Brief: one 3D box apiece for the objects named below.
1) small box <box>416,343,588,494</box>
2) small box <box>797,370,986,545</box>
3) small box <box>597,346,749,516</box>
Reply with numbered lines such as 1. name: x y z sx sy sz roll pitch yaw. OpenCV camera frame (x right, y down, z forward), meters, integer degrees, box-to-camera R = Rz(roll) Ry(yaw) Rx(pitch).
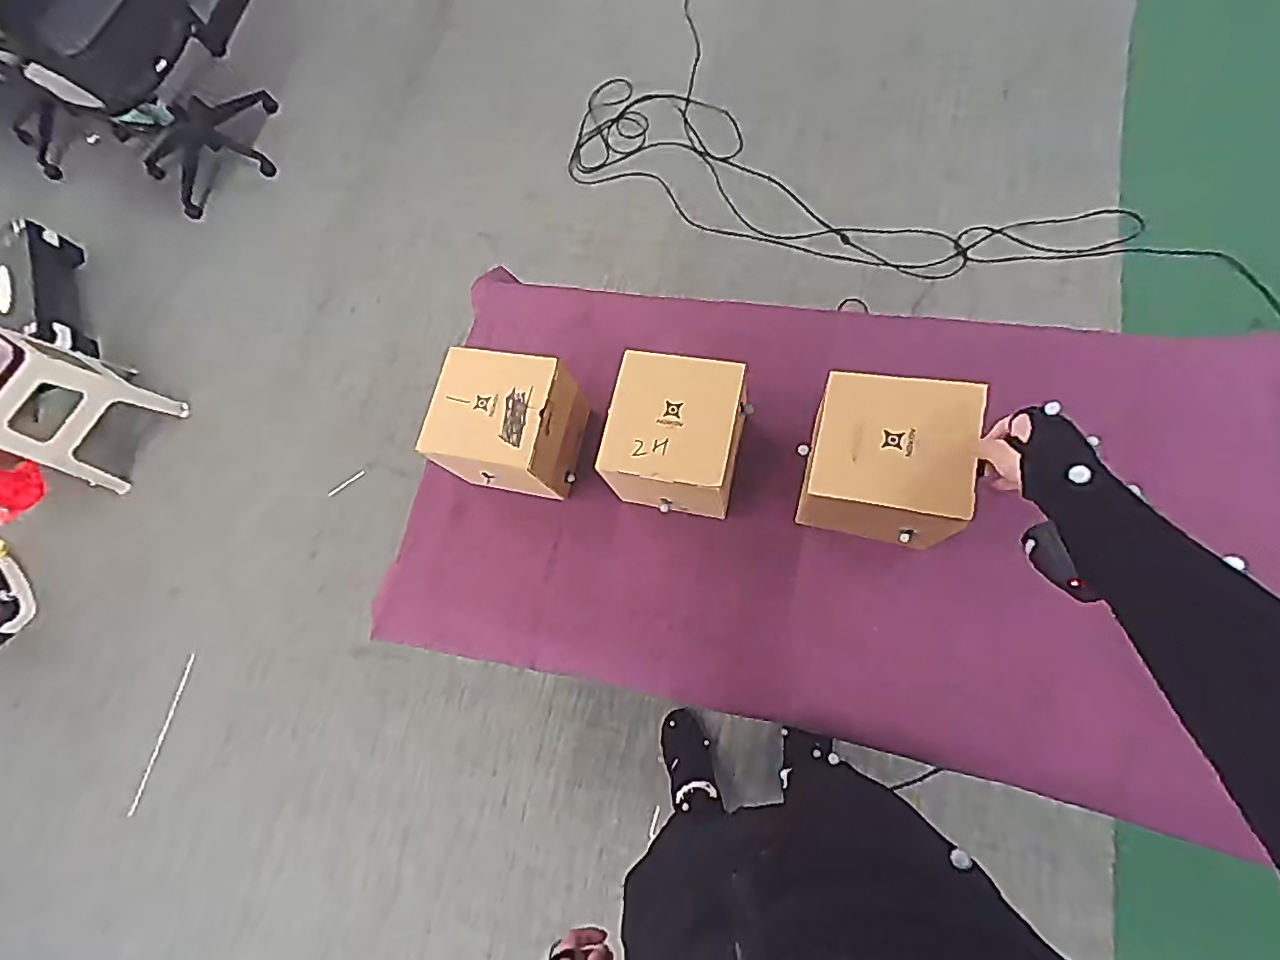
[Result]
1. small box: -0.194 -0.085 0.818 0.179 0.176 0.168 10 76 14
2. small box: 0.315 -0.020 0.708 0.179 0.176 0.168 12 76 15
3. small box: 0.055 -0.062 0.766 0.168 0.176 0.179 11 76 13
